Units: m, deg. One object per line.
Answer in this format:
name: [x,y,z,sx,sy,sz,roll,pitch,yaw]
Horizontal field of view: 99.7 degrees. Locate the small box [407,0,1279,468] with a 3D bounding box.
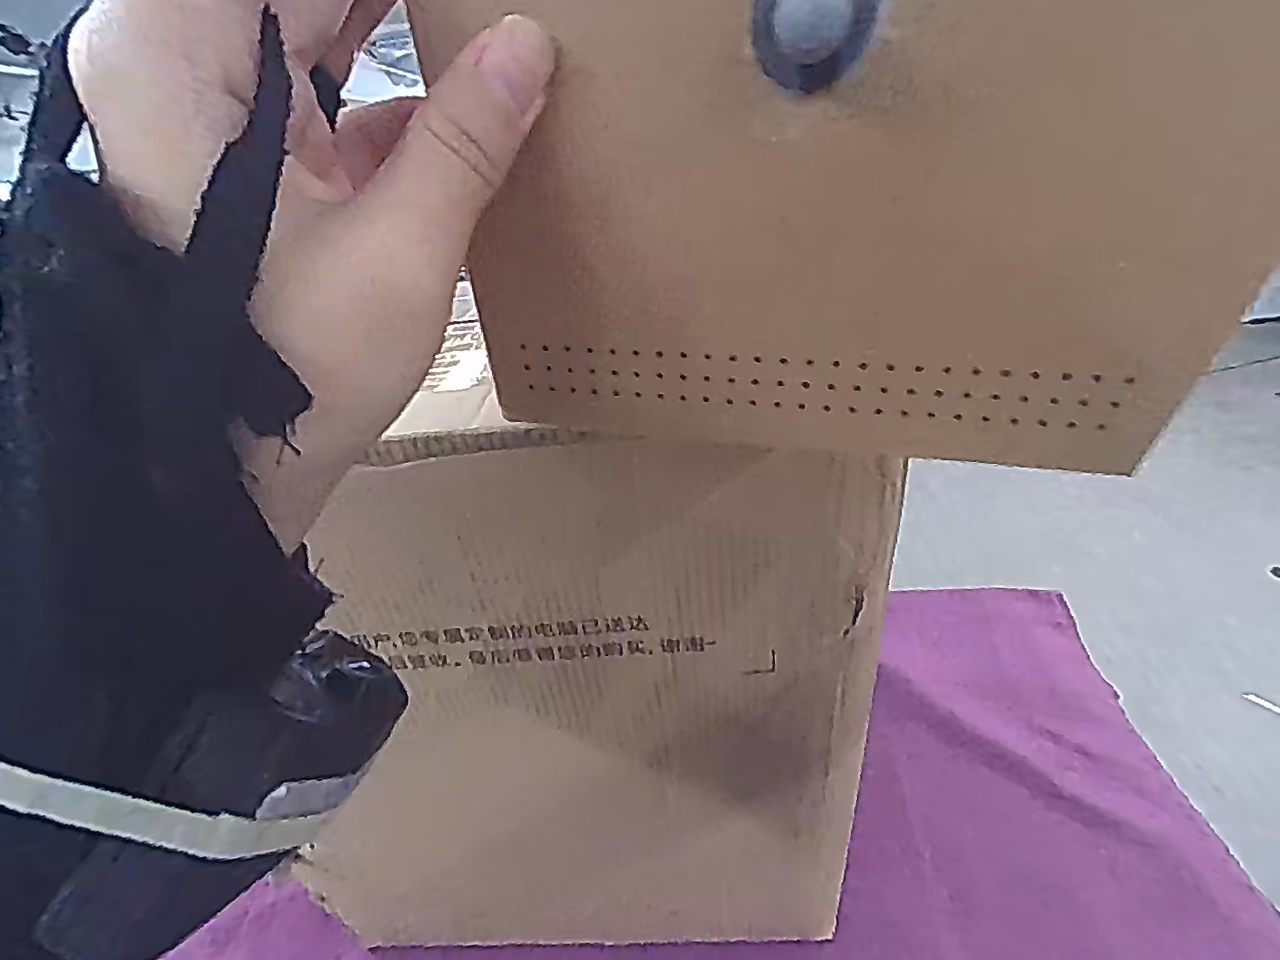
small box: [0.055,-0.120,0.163,0.179,0.176,0.168,5,40,11]
